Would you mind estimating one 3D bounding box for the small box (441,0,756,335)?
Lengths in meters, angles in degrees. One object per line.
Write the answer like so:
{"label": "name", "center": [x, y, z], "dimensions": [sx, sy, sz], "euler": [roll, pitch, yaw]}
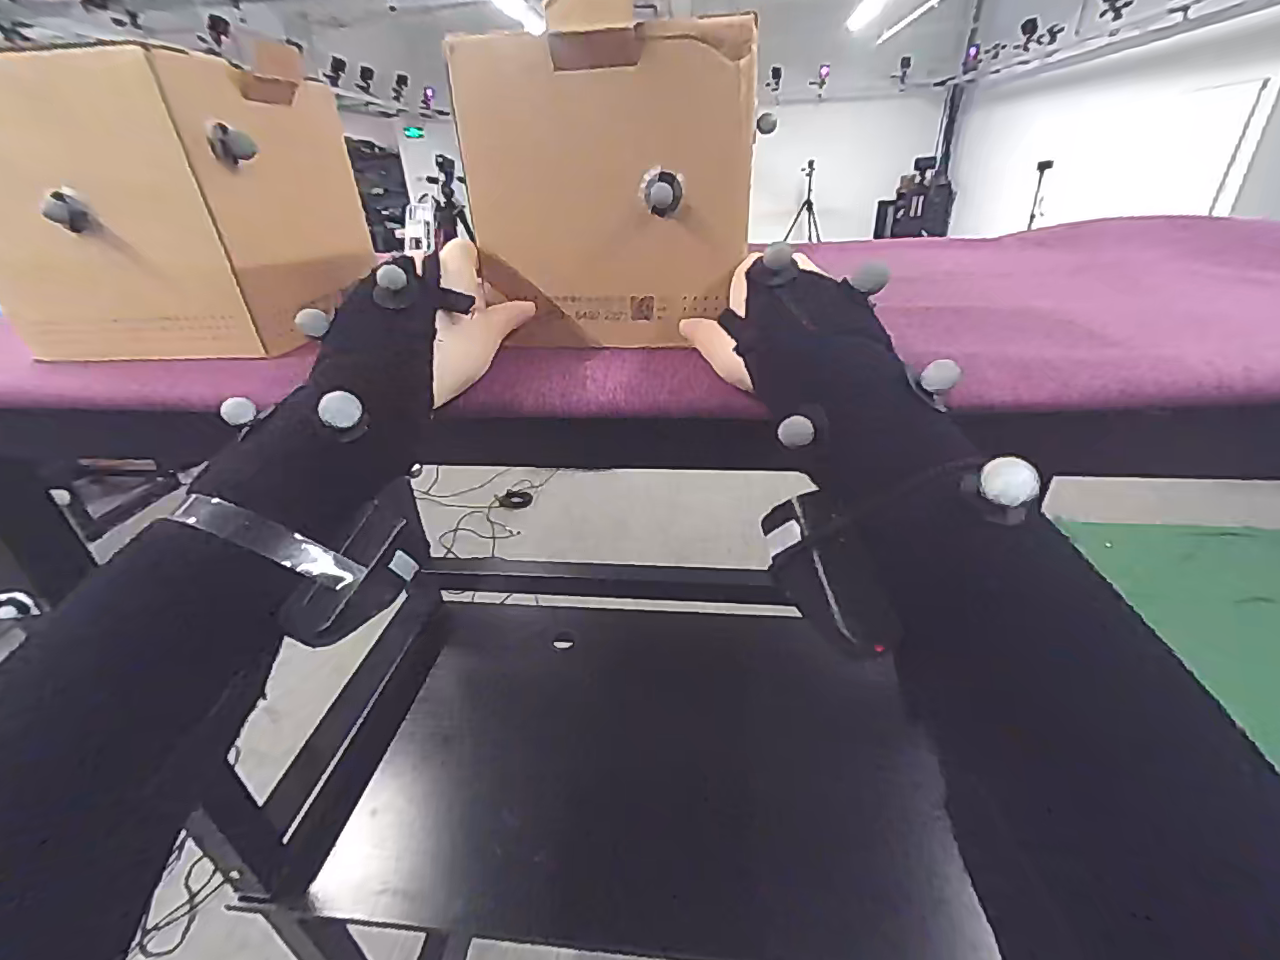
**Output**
{"label": "small box", "center": [-0.008, -0.204, 0.377], "dimensions": [0.168, 0.176, 0.179], "euler": [4, 29, 9]}
